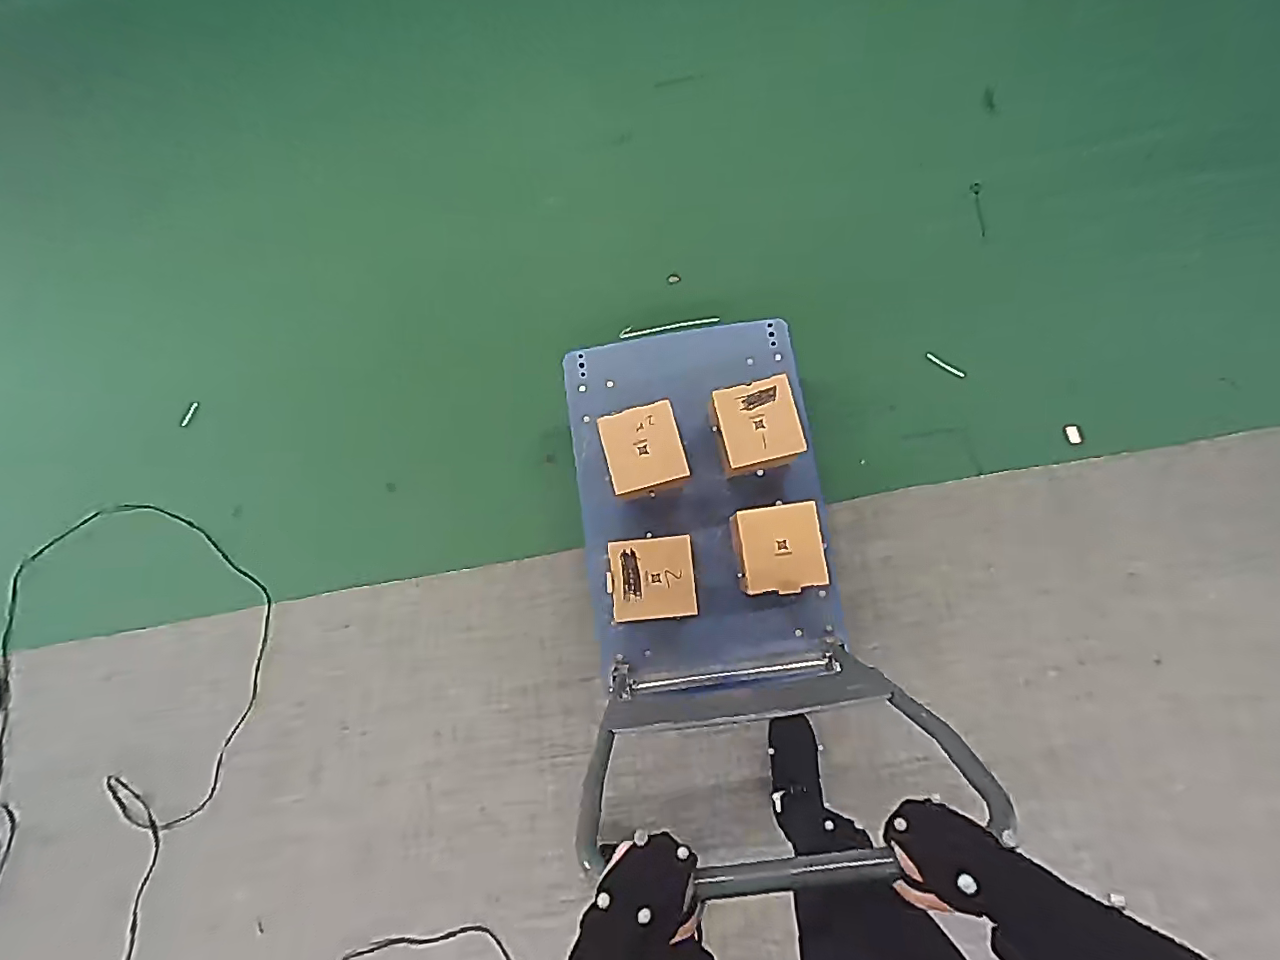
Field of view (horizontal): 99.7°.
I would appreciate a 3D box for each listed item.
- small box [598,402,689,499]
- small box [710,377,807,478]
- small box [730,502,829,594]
[{"bbox_3d":[0.012,-0.059,1.238,0.168,0.176,0.179,-15,82,1],"label":"small box"},{"bbox_3d":[0.260,-0.113,1.231,0.168,0.176,0.179,-13,83,2],"label":"small box"},{"bbox_3d":[0.299,0.152,1.195,0.168,0.176,0.179,-8,82,2],"label":"small box"}]
